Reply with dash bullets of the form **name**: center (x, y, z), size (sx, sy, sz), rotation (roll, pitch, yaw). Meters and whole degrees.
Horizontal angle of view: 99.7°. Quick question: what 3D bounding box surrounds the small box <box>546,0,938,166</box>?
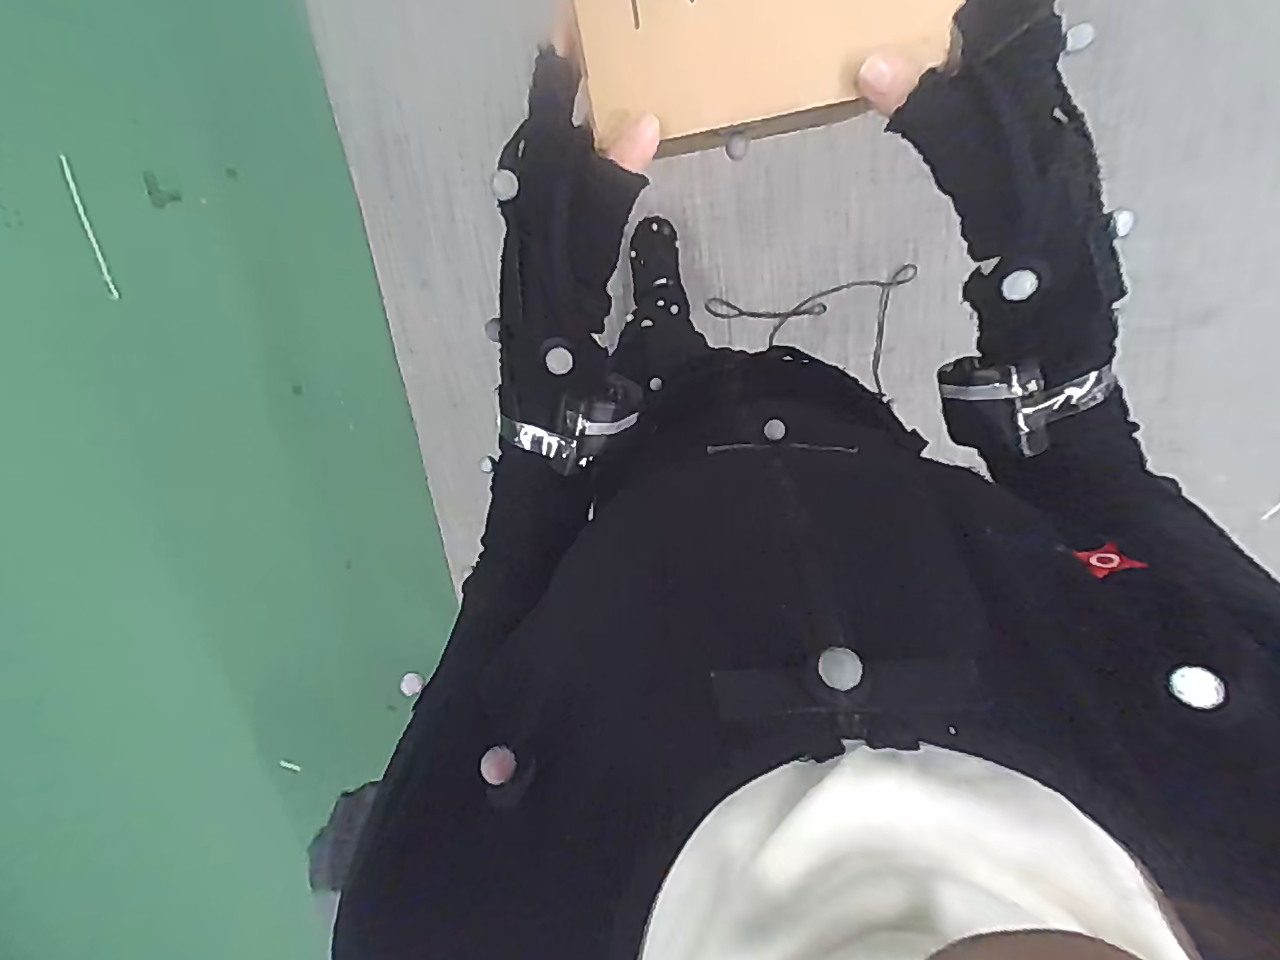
- **small box**: center (0.043, -0.283, 0.298), size (0.179, 0.176, 0.168), rotation (-7, 117, 6)
